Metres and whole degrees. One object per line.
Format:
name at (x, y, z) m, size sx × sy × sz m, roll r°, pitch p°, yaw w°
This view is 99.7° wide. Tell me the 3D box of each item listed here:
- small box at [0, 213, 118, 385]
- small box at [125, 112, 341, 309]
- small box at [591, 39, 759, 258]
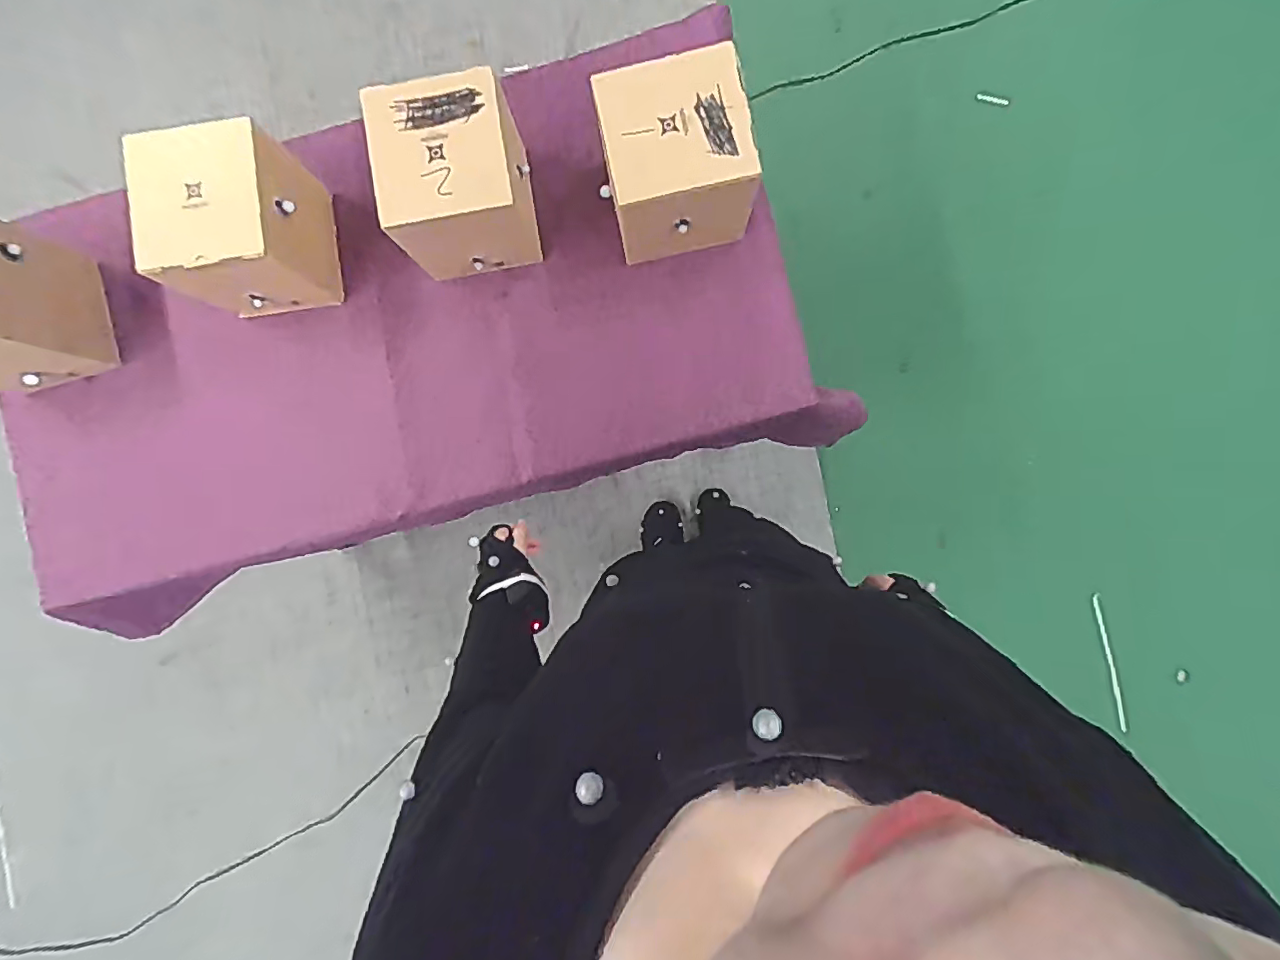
small box at (-0.894, -0.248, 0.751) m, size 0.168 × 0.176 × 0.179 m, roll -14°, pitch 88°, yaw 2°
small box at (-0.542, -0.355, 0.742) m, size 0.168 × 0.176 × 0.179 m, roll -7°, pitch 89°, yaw 2°
small box at (0.044, -0.421, 0.717) m, size 0.179 × 0.176 × 0.168 m, roll -12°, pitch 88°, yaw 4°
